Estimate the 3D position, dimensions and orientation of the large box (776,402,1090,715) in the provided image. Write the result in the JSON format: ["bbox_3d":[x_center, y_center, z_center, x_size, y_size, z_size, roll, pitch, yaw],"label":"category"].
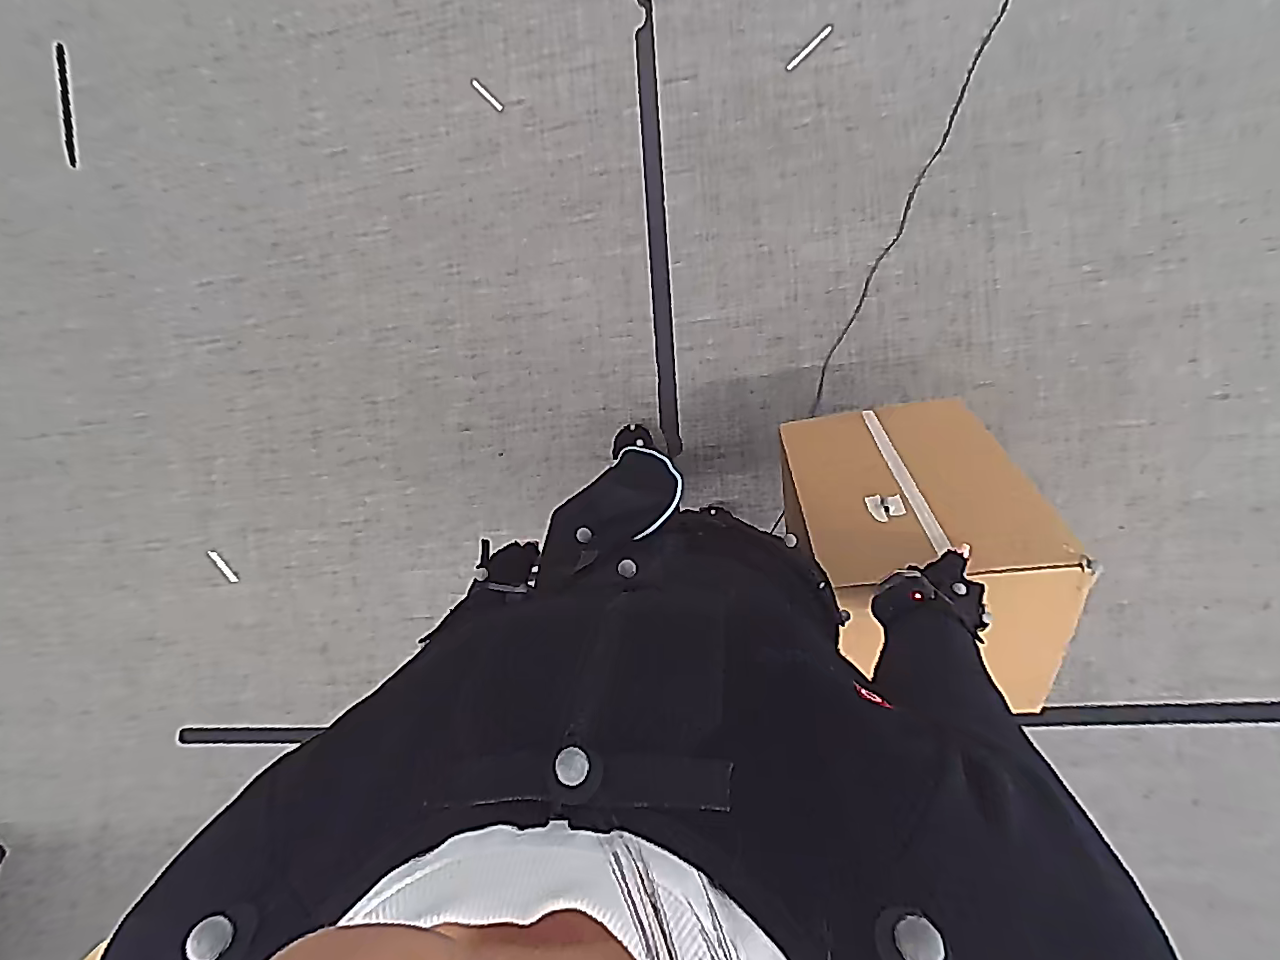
[{"bbox_3d":[0.421,0.118,0.900,0.320,0.408,0.320,-9,126,11],"label":"large box"}]
